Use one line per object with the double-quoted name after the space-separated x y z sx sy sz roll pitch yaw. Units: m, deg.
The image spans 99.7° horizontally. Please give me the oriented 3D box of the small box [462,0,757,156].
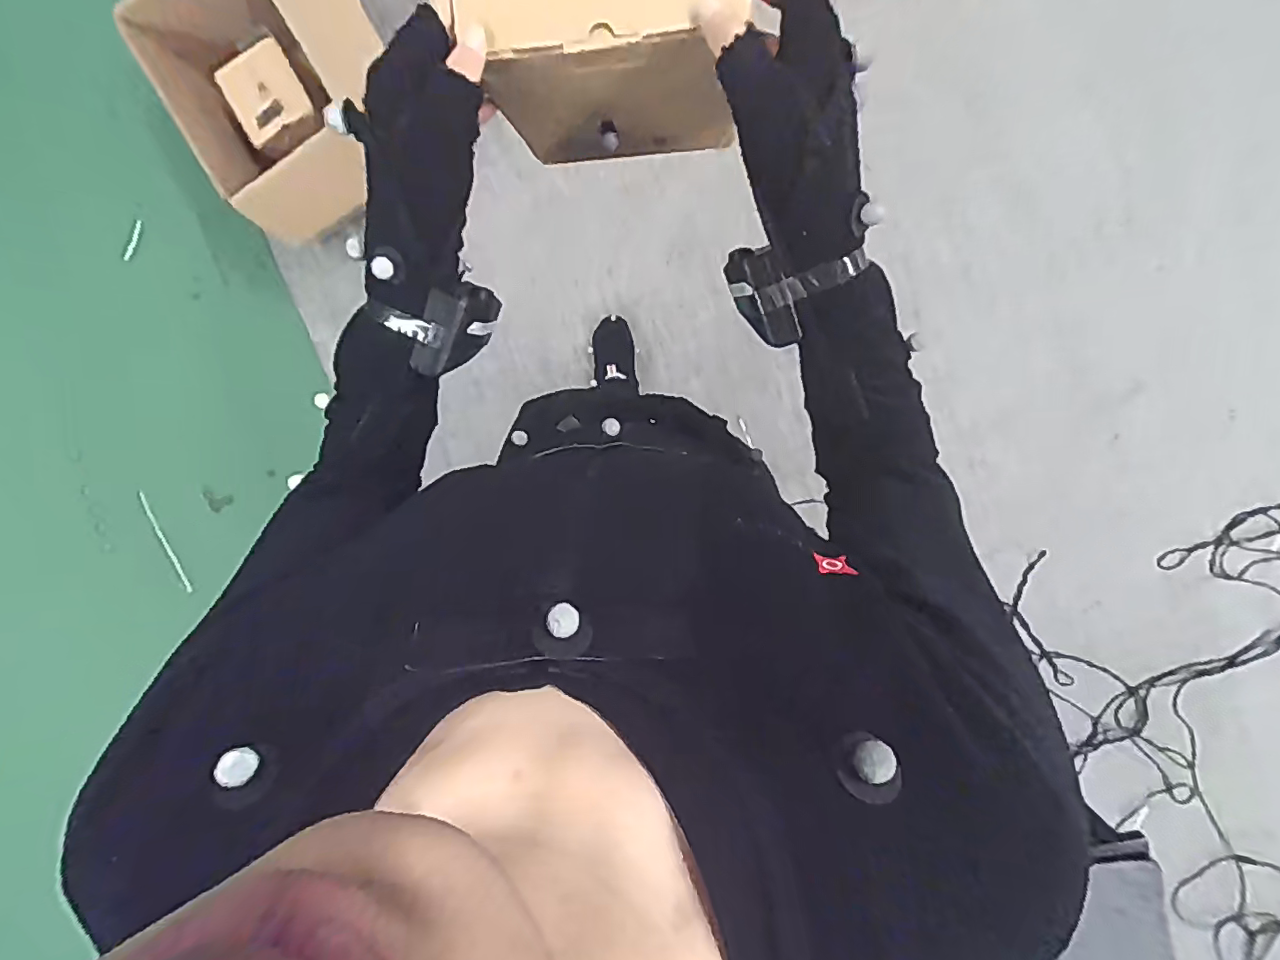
-0.013 -0.345 0.359 0.168 0.176 0.179 -1 103 7 "small box"
